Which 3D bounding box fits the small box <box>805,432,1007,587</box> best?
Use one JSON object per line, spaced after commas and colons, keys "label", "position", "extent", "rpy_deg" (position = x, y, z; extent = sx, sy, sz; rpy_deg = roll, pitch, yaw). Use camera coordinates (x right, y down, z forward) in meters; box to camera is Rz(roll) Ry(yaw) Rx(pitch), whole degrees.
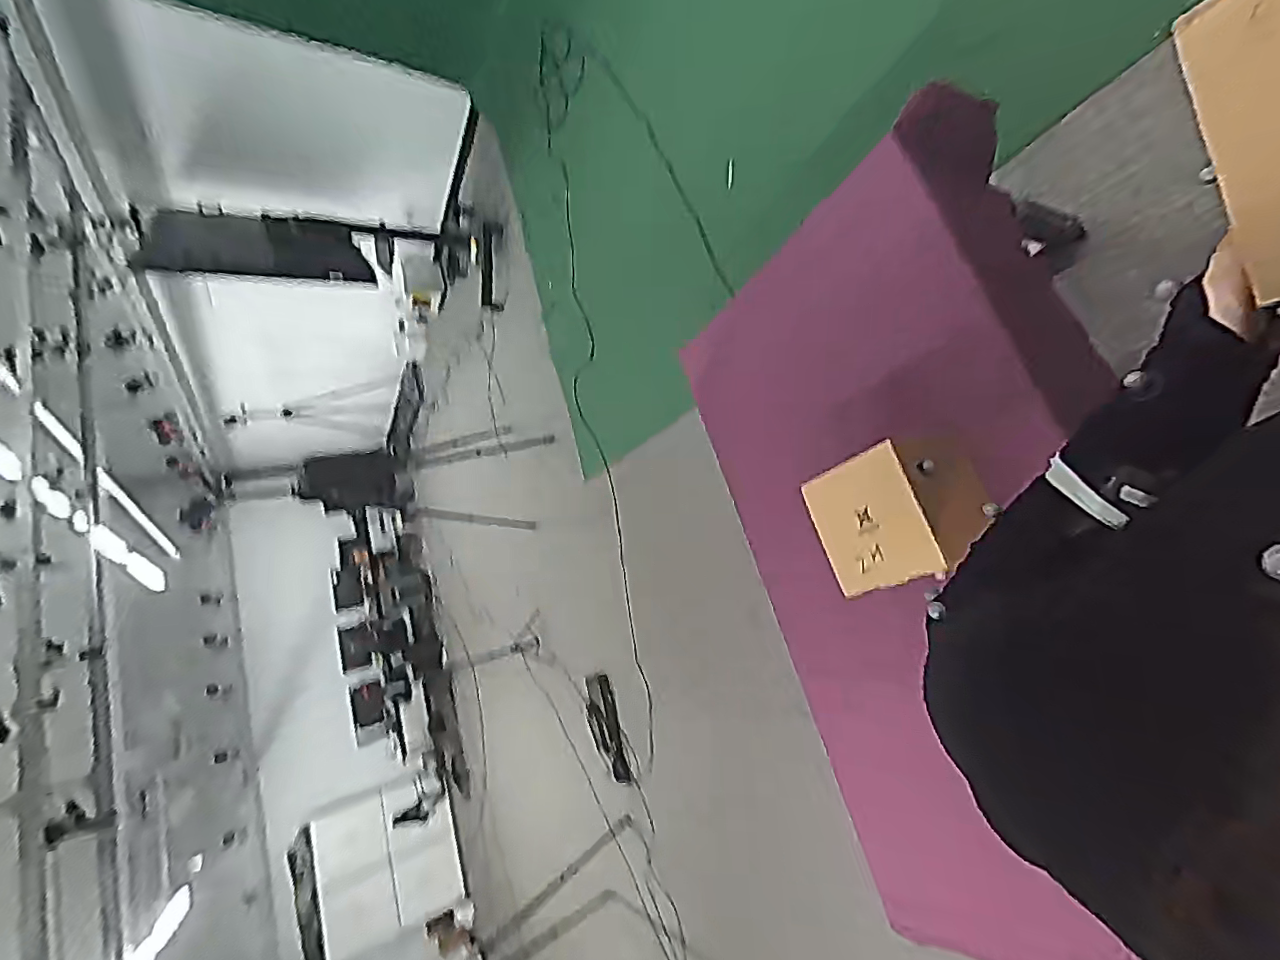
{"label": "small box", "position": [0.383, 0.039, 0.788], "extent": [0.168, 0.176, 0.179], "rpy_deg": [-40, 64, 54]}

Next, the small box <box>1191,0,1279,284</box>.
{"label": "small box", "position": [0.442, -0.218, 0.282], "extent": [0.168, 0.176, 0.179], "rpy_deg": [-16, 88, 60]}
